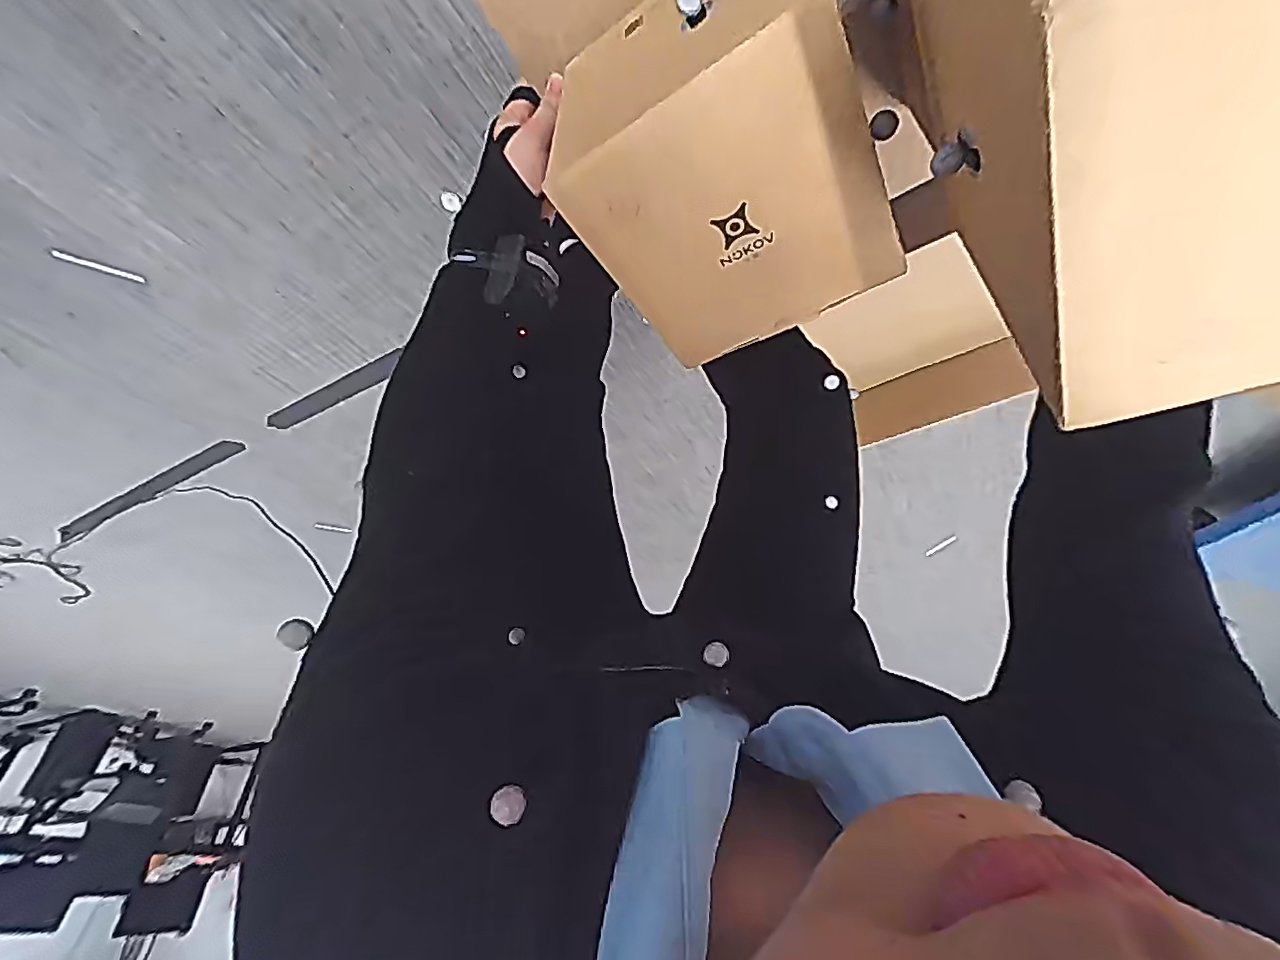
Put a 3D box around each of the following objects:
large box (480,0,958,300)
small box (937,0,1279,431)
[{"bbox_3d":[0.137,-0.445,0.463,0.408,0.320,0.320,-19,136,28],"label":"large box"},{"bbox_3d":[0.209,-0.149,0.171,0.179,0.176,0.168,-18,138,27],"label":"small box"}]
